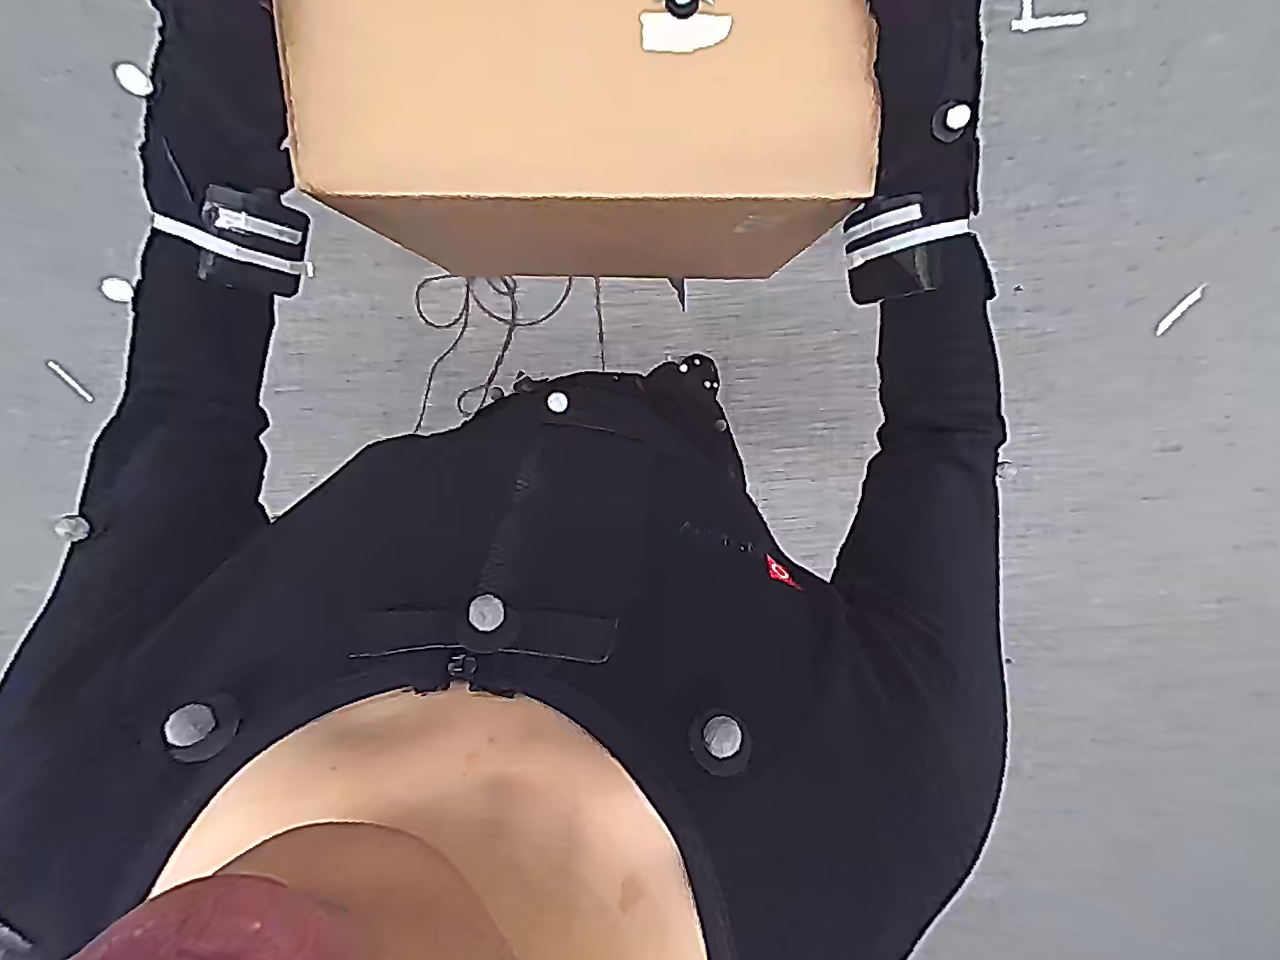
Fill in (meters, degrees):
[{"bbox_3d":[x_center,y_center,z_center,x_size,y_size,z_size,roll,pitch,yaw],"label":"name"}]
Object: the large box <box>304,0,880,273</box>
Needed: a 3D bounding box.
[{"bbox_3d":[-0.034,-0.390,0.512,0.408,0.320,0.320,0,101,-1],"label":"large box"}]
